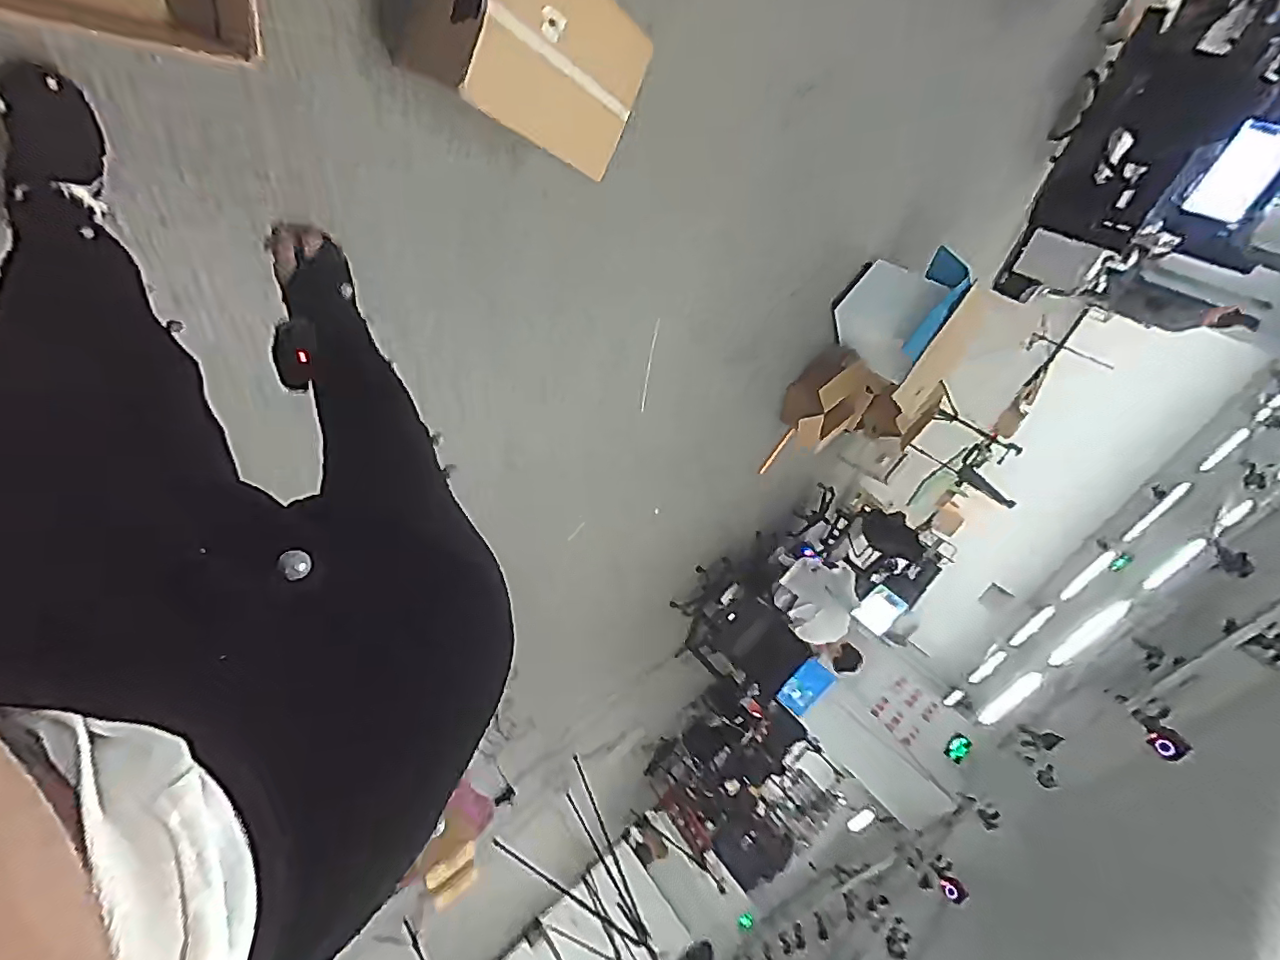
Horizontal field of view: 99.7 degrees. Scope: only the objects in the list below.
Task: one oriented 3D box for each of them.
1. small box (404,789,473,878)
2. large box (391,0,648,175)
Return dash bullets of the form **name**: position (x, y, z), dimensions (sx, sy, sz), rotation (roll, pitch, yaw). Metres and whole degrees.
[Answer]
- **small box**: position (-0.678, 1.183, 1.820), dimensions (0.168, 0.176, 0.179), rotation (-23, 144, -36)
- **large box**: position (-0.265, -0.960, 1.207), dimensions (0.408, 0.320, 0.320), rotation (-1, 126, -51)
